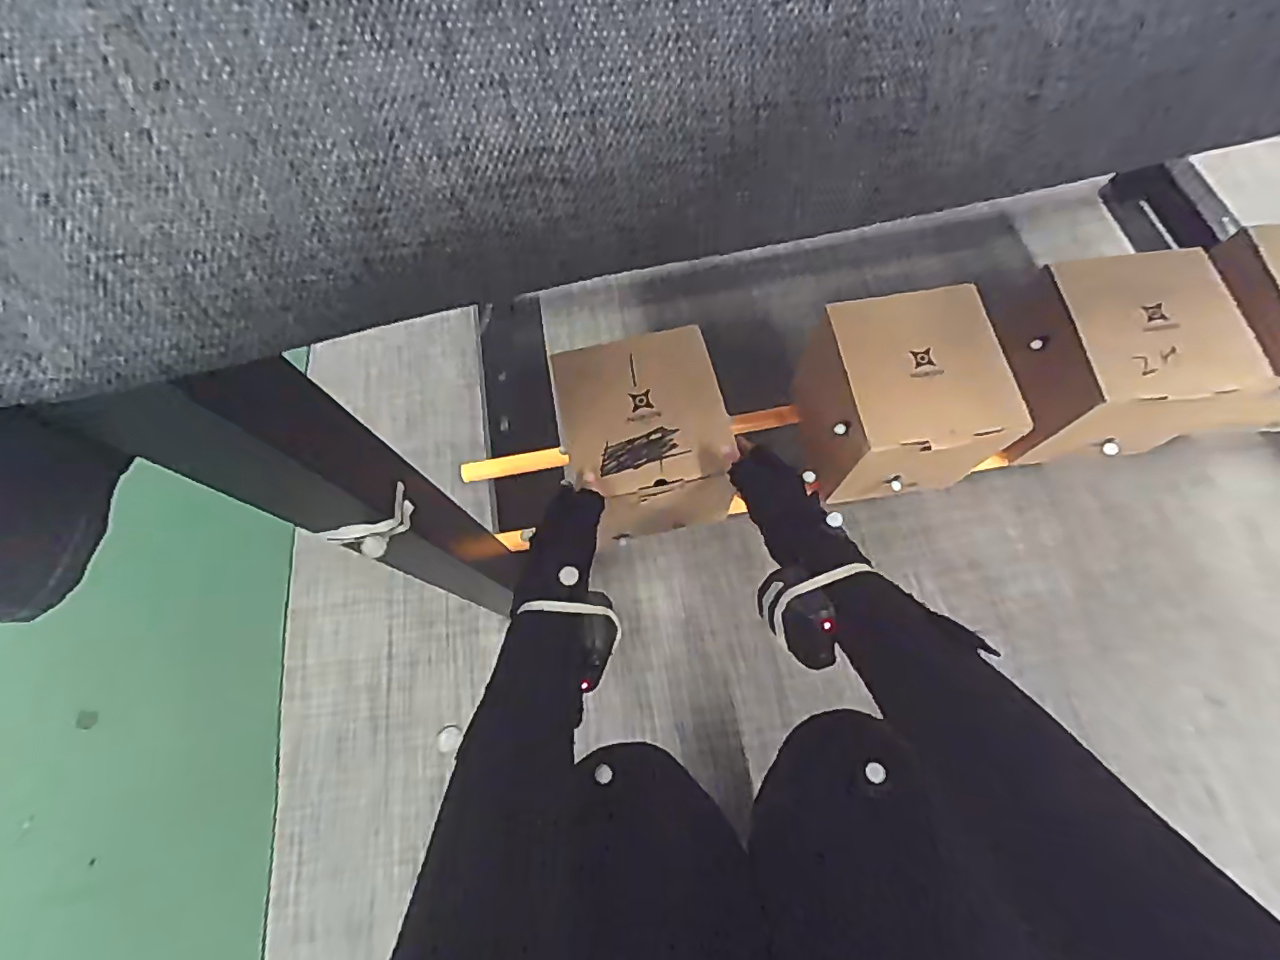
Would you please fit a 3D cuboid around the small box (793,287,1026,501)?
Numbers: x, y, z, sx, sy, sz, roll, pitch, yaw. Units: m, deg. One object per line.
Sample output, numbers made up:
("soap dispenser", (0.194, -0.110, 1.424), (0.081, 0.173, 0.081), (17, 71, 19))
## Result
("small box", (0.289, -0.091, 0.629), (0.168, 0.176, 0.179), (-8, 70, 0))
